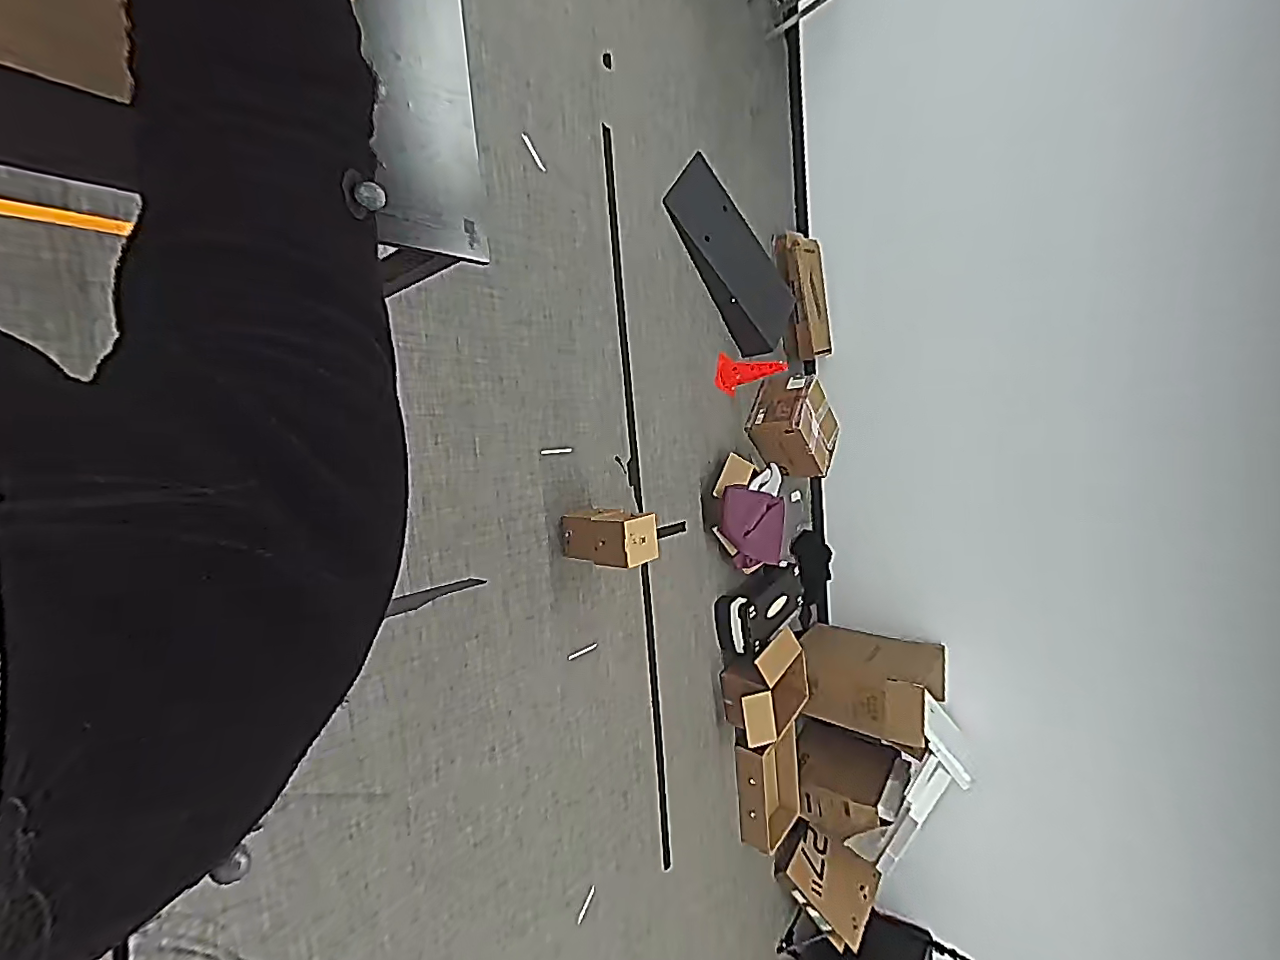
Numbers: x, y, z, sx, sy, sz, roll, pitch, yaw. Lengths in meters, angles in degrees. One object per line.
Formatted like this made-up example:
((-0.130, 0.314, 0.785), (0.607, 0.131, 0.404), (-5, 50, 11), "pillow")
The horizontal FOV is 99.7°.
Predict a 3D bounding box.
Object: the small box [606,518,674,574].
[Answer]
((0.001, 0.230, 1.936), (0.179, 0.176, 0.168), (-11, 98, -50), "small box")

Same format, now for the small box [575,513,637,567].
((-0.122, 0.221, 2.047), (0.179, 0.176, 0.168), (-12, 98, -49), "small box")
